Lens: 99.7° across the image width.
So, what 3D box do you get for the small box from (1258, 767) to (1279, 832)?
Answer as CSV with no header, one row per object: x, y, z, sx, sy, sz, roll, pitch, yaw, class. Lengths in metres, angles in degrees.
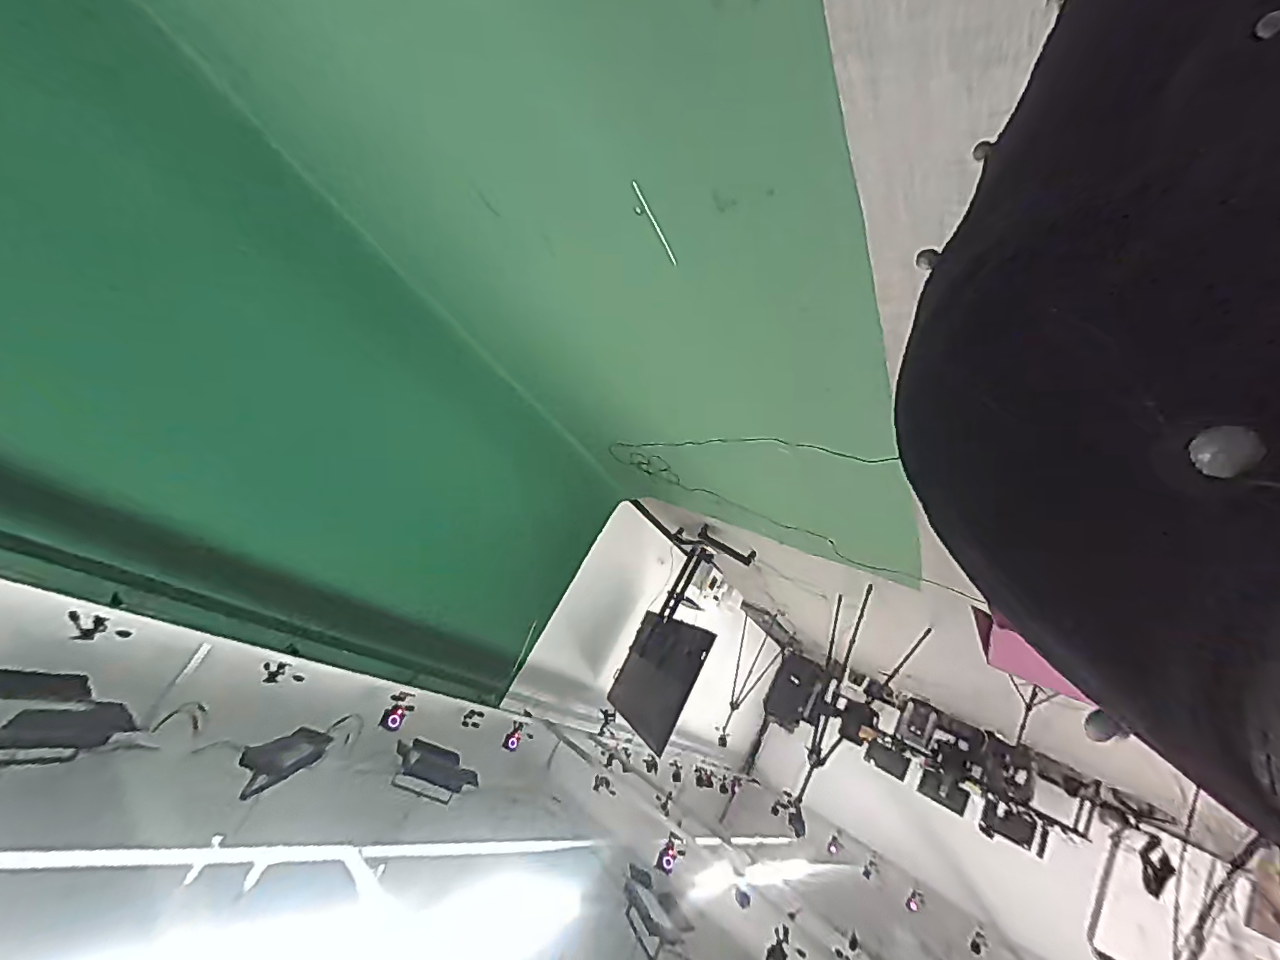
1.914,0.934,1.510,0.179,0.176,0.168,24,163,27,small box

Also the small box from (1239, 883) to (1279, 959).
1.767,1.217,1.427,0.179,0.176,0.168,25,164,19,small box
